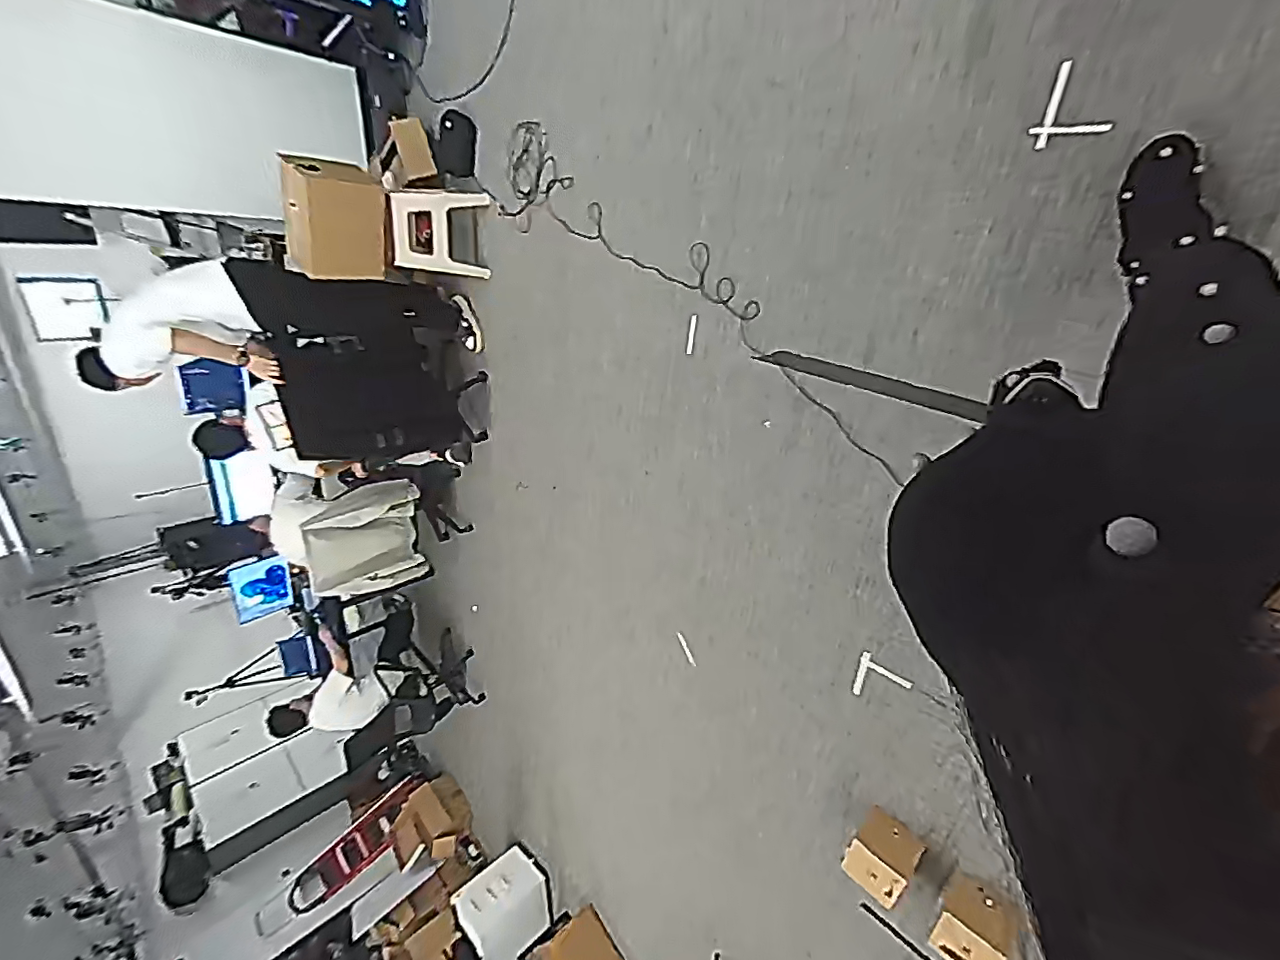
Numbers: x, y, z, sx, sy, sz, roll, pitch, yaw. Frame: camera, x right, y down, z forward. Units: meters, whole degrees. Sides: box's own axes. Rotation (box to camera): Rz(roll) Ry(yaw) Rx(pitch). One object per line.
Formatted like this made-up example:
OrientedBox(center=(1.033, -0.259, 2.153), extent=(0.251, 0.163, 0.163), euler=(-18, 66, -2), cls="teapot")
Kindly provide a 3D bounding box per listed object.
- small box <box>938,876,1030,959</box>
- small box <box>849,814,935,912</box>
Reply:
OrientedBox(center=(1.013, 1.334, 1.591), extent=(0.168, 0.176, 0.179), euler=(26, 121, 39), cls="small box")
OrientedBox(center=(0.822, 1.236, 1.764), extent=(0.179, 0.176, 0.168), euler=(31, 124, 38), cls="small box")
